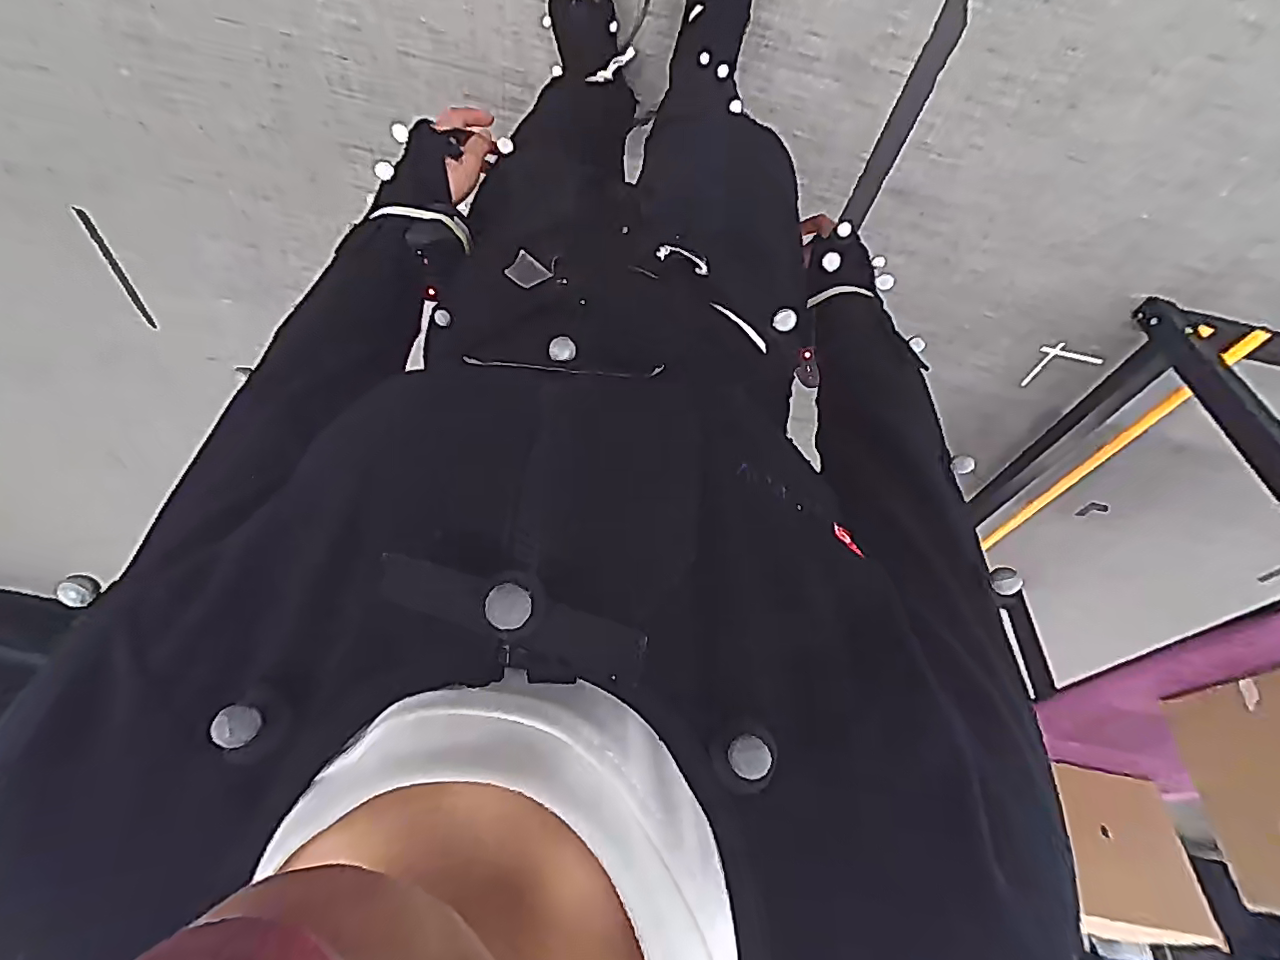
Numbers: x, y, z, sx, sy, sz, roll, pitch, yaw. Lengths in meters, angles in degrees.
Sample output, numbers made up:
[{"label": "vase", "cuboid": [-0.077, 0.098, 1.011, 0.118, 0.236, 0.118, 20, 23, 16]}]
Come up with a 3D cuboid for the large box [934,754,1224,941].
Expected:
[{"label": "large box", "cuboid": [1.032, 0.906, 1.340, 0.408, 0.320, 0.320, 12, 141, -3]}]
